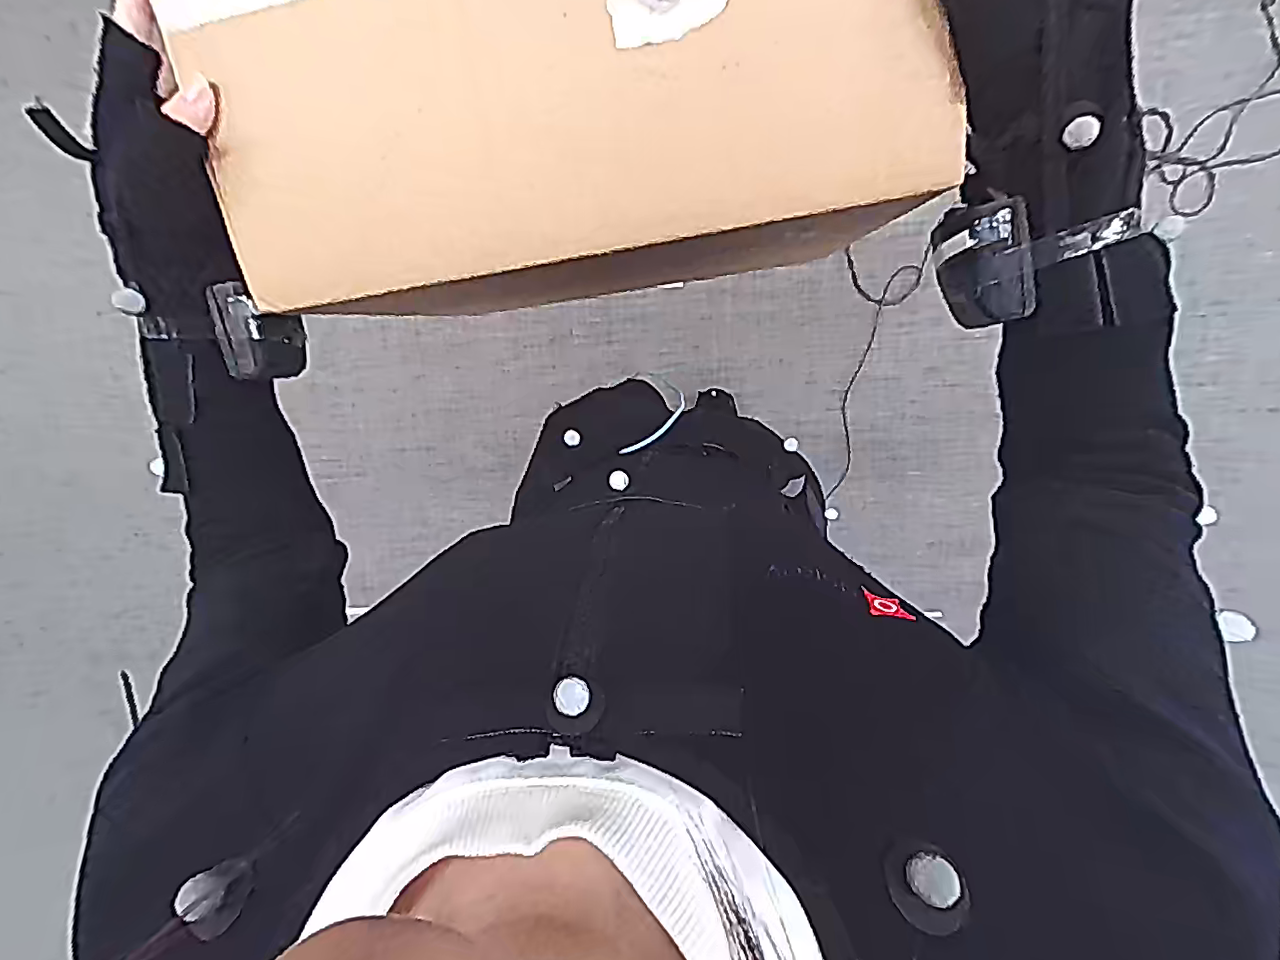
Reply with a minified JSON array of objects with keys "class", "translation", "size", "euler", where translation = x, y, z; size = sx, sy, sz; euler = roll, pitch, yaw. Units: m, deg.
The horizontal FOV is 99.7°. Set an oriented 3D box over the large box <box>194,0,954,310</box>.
[{"class":"large box","translation":[-0.040,-0.326,0.416],"size":[0.408,0.320,0.320],"euler":[-7,106,8]}]
